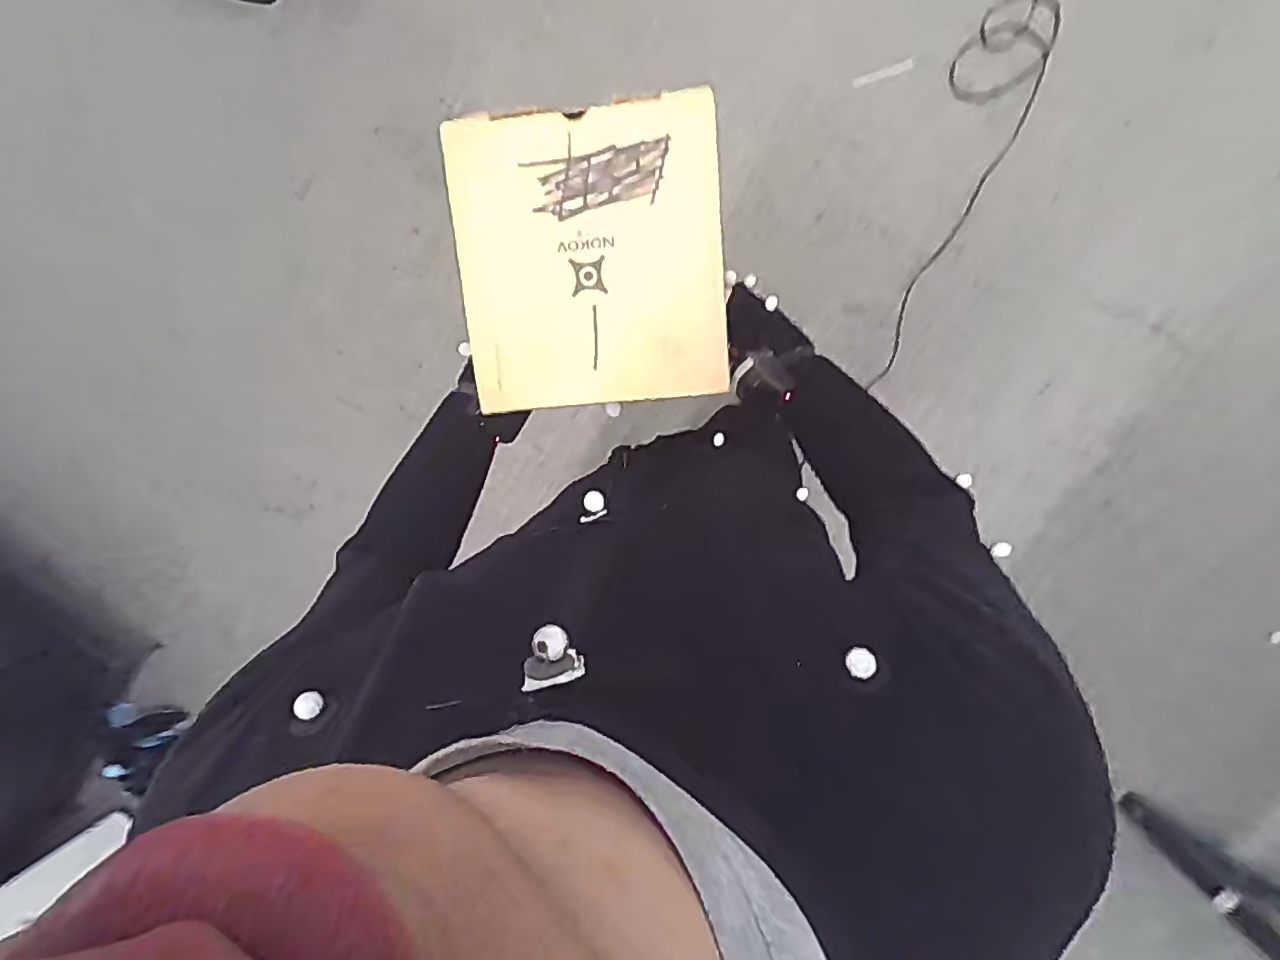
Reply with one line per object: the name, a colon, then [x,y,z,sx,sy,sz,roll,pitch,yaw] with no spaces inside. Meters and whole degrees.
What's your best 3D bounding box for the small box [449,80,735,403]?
small box: [-0.021,-0.155,0.406,0.168,0.176,0.179,-3,103,6]
